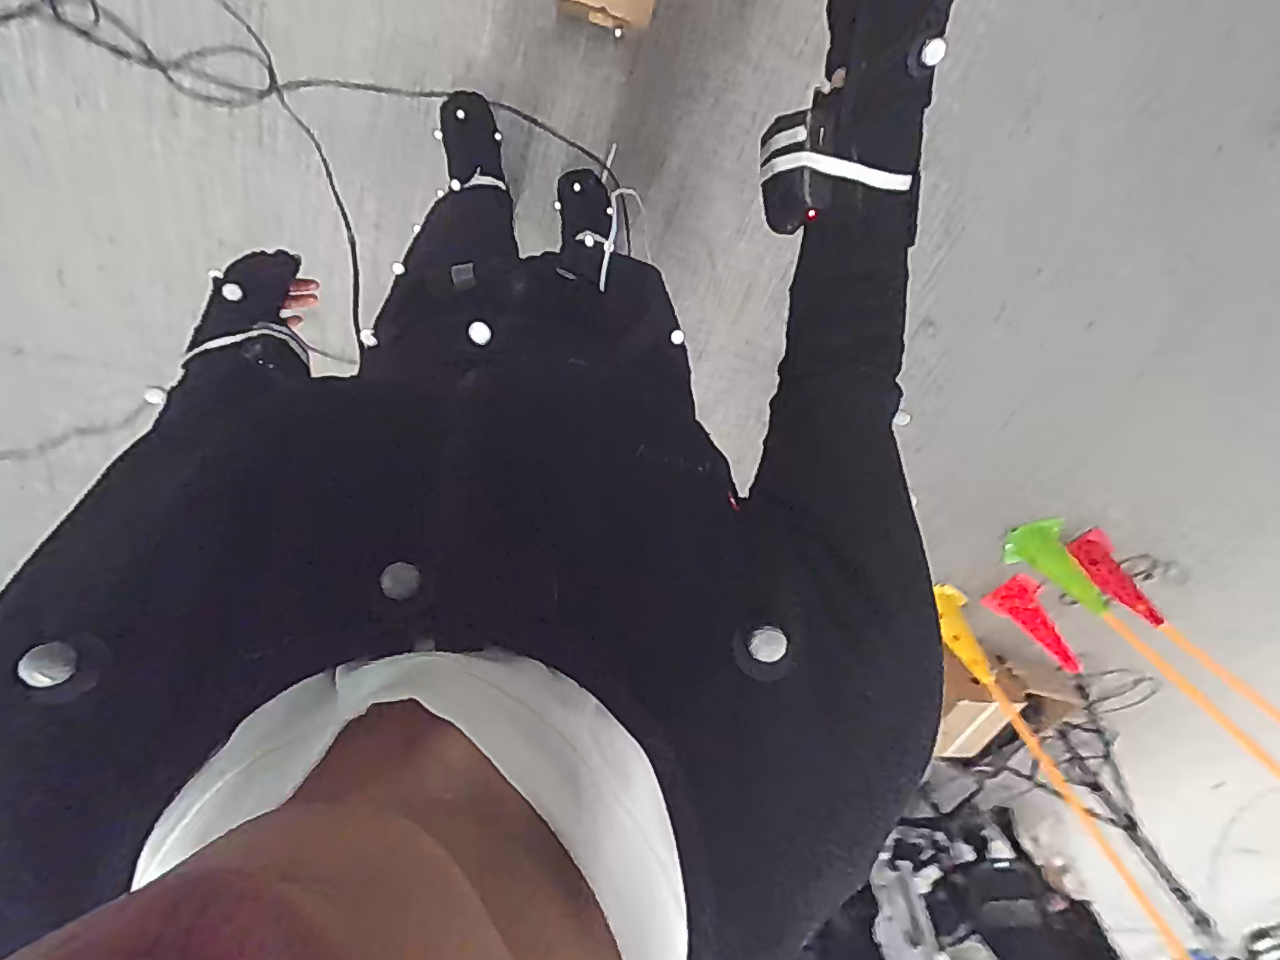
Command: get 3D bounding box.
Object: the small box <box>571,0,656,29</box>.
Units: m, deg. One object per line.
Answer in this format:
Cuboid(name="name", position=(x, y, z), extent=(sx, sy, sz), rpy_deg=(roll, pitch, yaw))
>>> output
Cuboid(name="small box", position=(-0.040, -0.916, 0.931), extent=(0.168, 0.176, 0.179), rpy_deg=(11, 123, -15))
